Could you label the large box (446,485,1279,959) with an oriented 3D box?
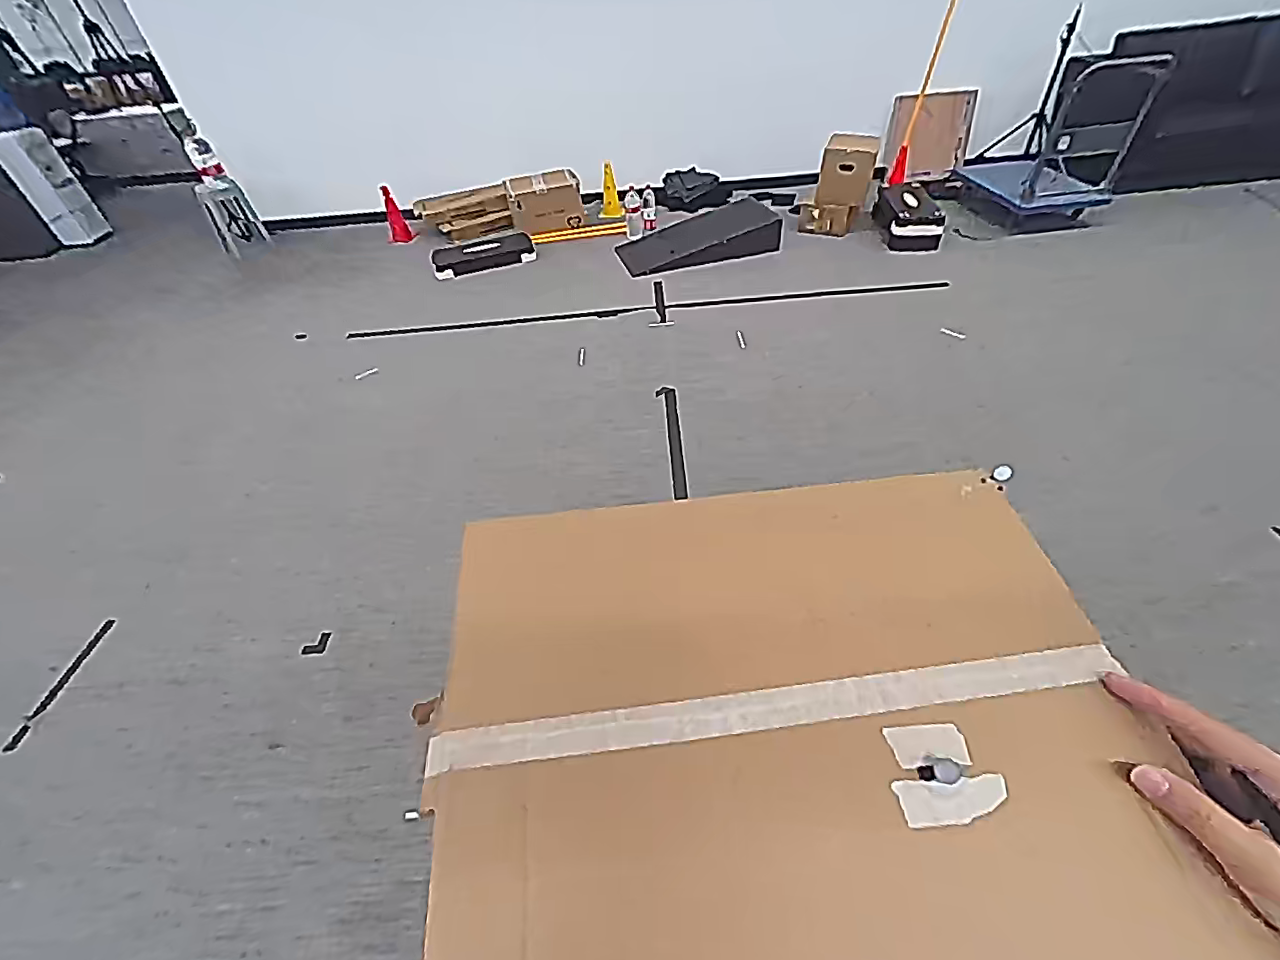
[{"bbox_3d":[0.090,0.236,0.442,0.408,0.320,0.320,-6,52,-5],"label":"large box"}]
